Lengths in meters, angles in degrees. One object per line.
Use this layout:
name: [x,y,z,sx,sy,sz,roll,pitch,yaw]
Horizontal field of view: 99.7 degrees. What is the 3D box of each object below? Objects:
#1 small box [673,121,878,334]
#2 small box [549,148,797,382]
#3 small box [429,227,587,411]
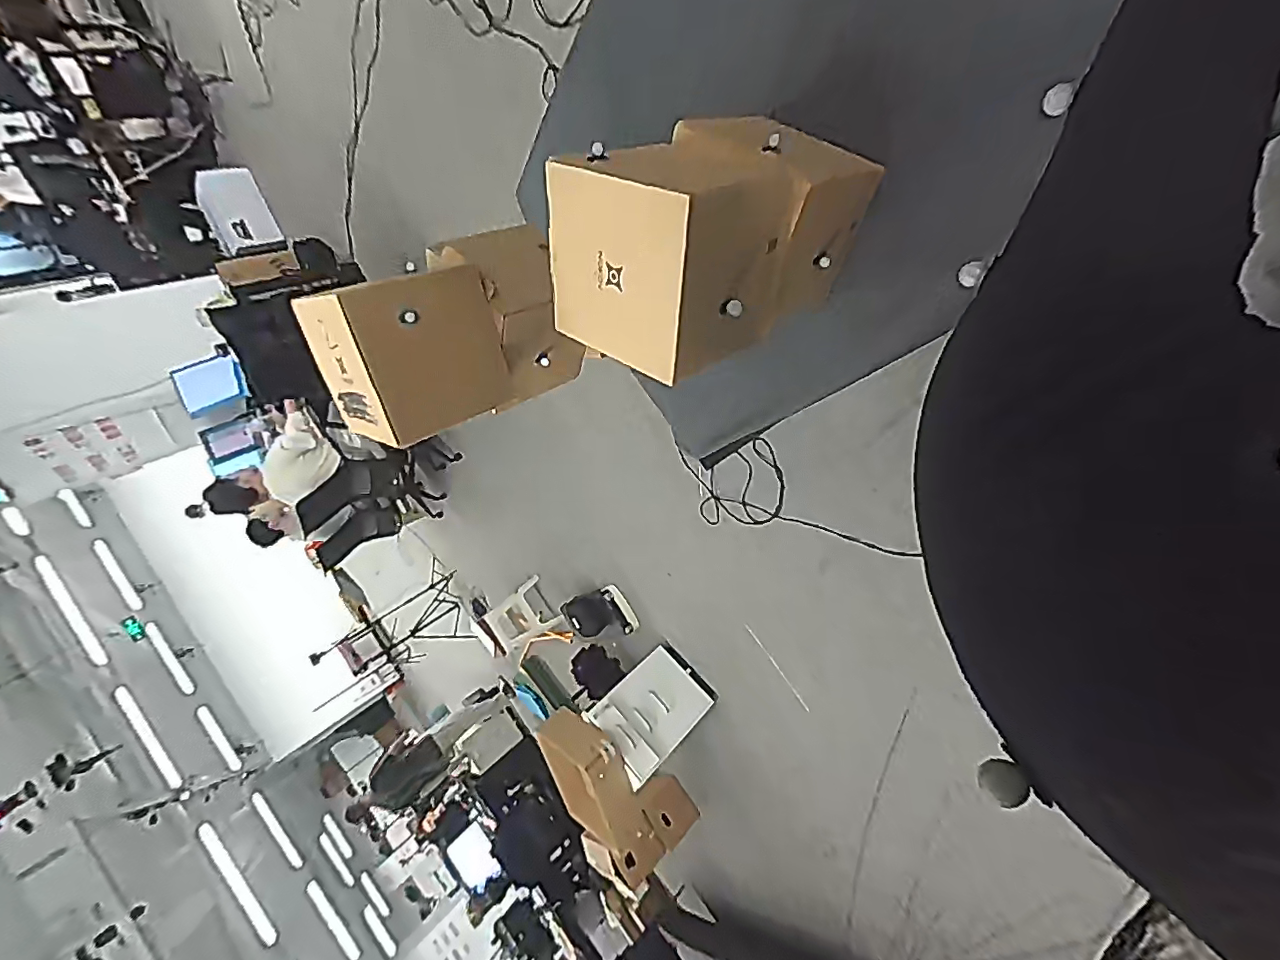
small box: [0.142,-0.305,0.638,0.179,0.176,0.168,40,140,23]
small box: [0.032,-0.227,0.548,0.179,0.176,0.168,33,138,31]
small box: [-0.184,-0.239,0.788,0.168,0.176,0.179,43,143,17]
